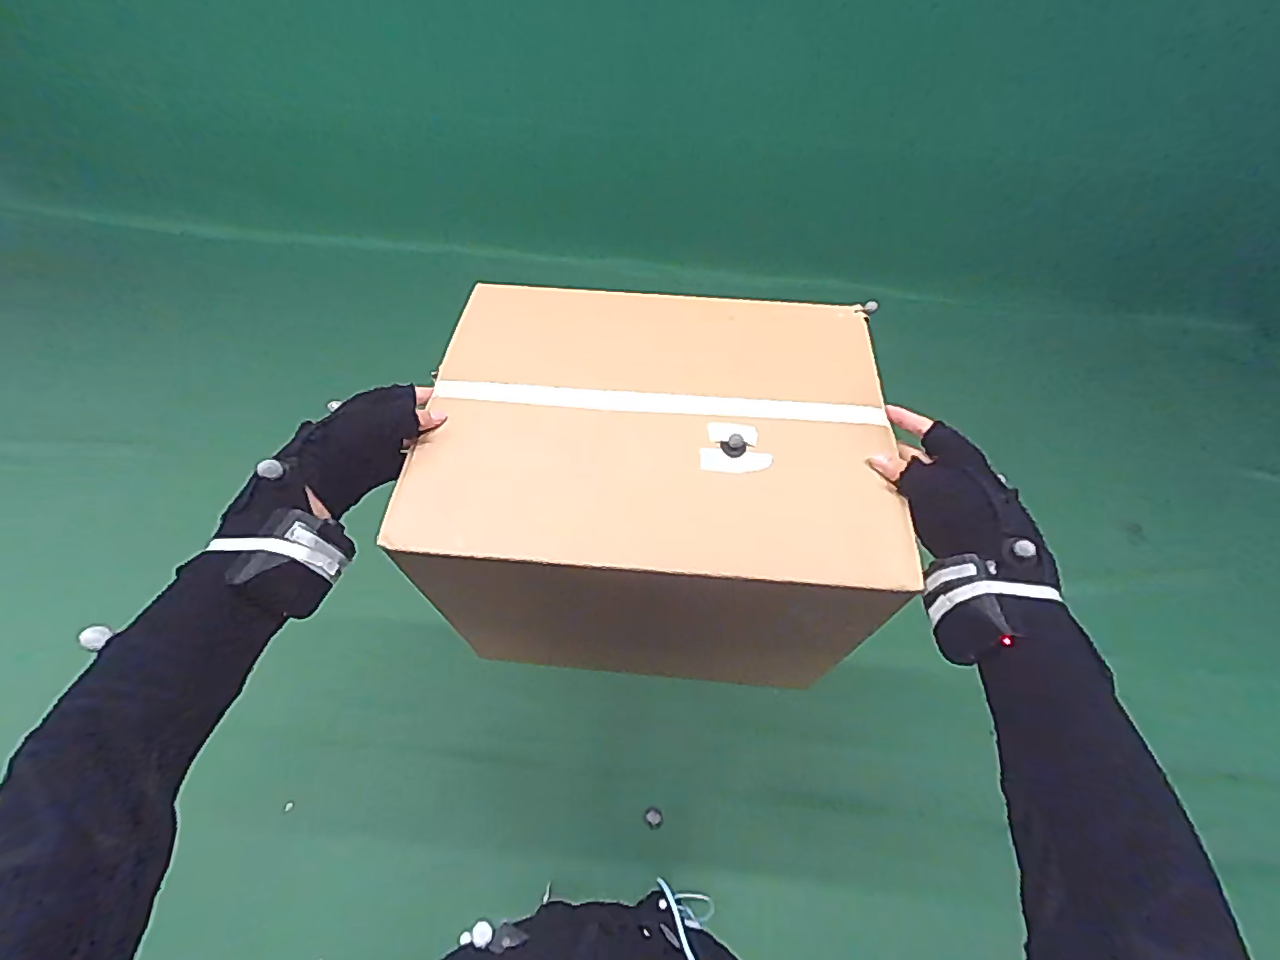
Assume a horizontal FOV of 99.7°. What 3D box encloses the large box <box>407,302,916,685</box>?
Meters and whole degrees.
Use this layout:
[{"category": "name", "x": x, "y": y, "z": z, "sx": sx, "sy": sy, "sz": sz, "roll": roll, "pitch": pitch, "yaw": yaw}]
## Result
[{"category": "large box", "x": 0.020, "y": 0.028, "z": 0.620, "sx": 0.408, "sy": 0.320, "sz": 0.320, "roll": 5, "pitch": 57, "yaw": 2}]
